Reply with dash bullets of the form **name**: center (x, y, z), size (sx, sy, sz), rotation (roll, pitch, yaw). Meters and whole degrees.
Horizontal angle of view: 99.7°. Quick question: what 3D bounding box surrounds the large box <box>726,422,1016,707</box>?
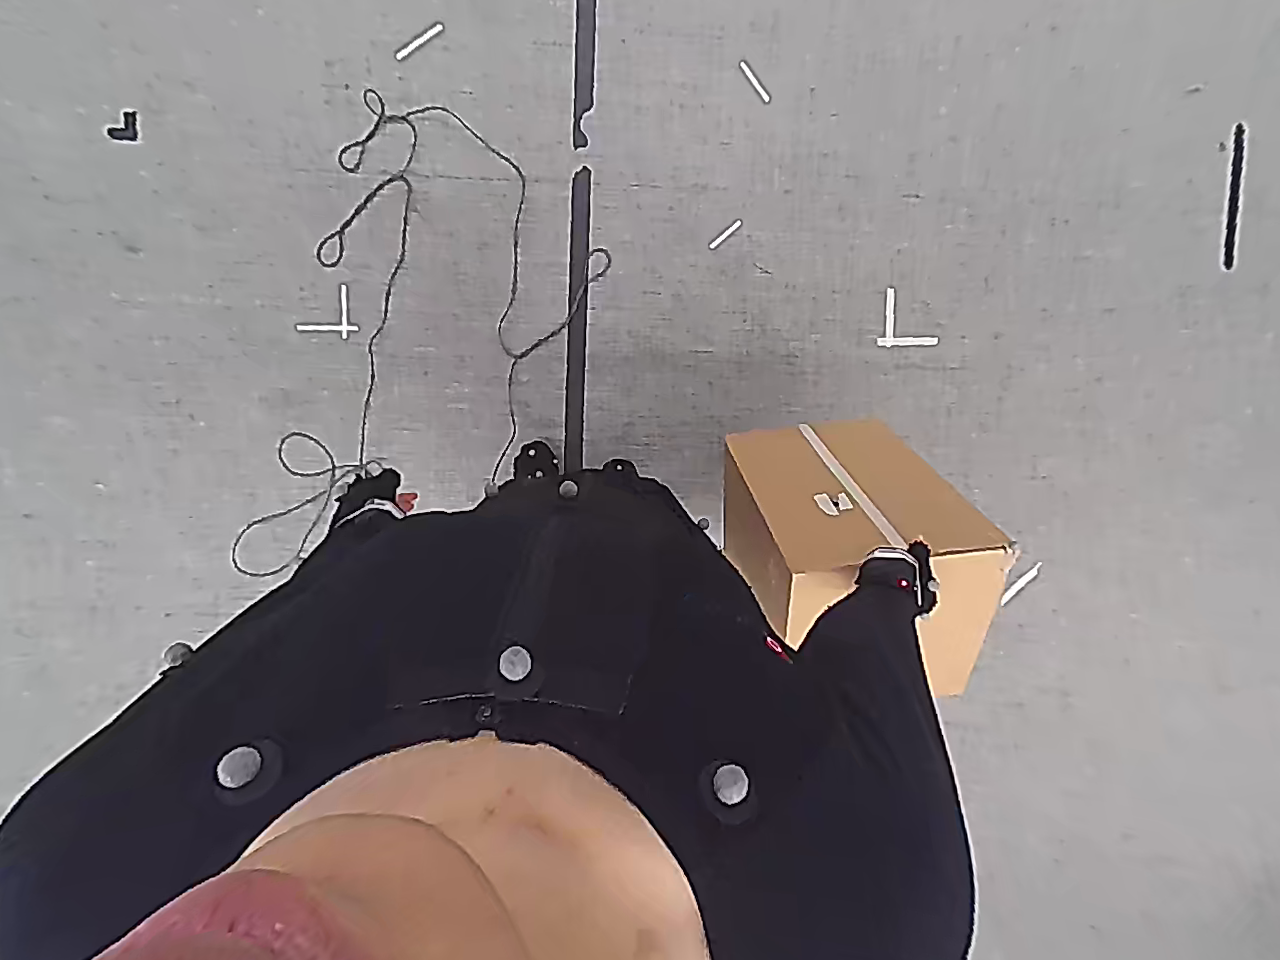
- **large box**: center (0.356, 0.131, 0.983), size (0.320, 0.408, 0.320), rotation (-7, 124, -2)
